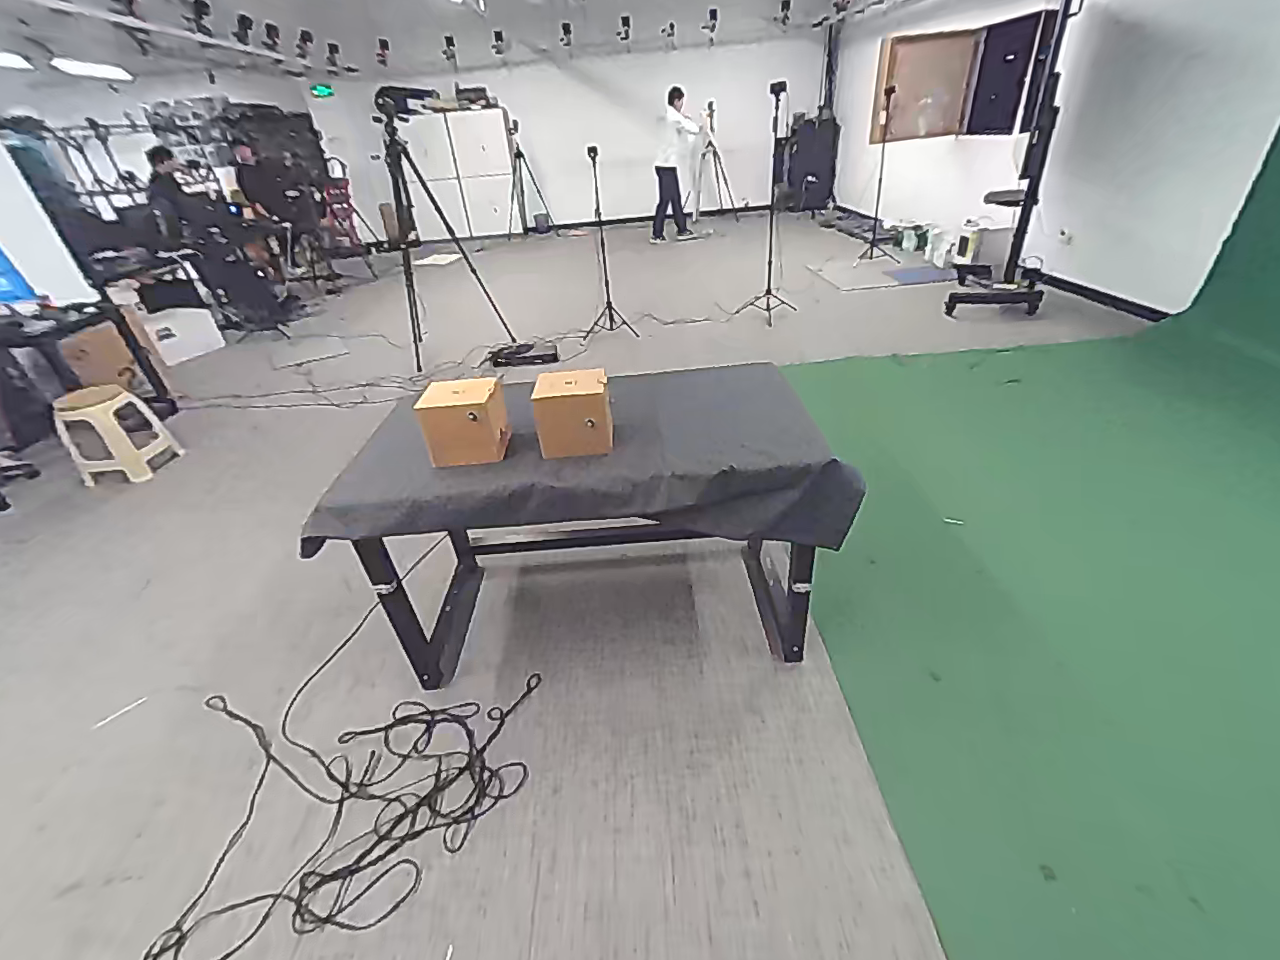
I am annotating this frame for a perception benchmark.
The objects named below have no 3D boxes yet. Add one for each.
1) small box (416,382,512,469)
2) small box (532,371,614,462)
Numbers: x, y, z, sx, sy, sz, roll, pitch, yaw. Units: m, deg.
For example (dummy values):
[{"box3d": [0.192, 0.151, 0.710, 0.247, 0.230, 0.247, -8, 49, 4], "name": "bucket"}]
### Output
[{"box3d": [-0.441, -0.138, 1.386, 0.179, 0.176, 0.168, -5, 32, 0], "name": "small box"}, {"box3d": [-0.162, -0.161, 1.377, 0.179, 0.176, 0.168, -6, 31, 2], "name": "small box"}]
